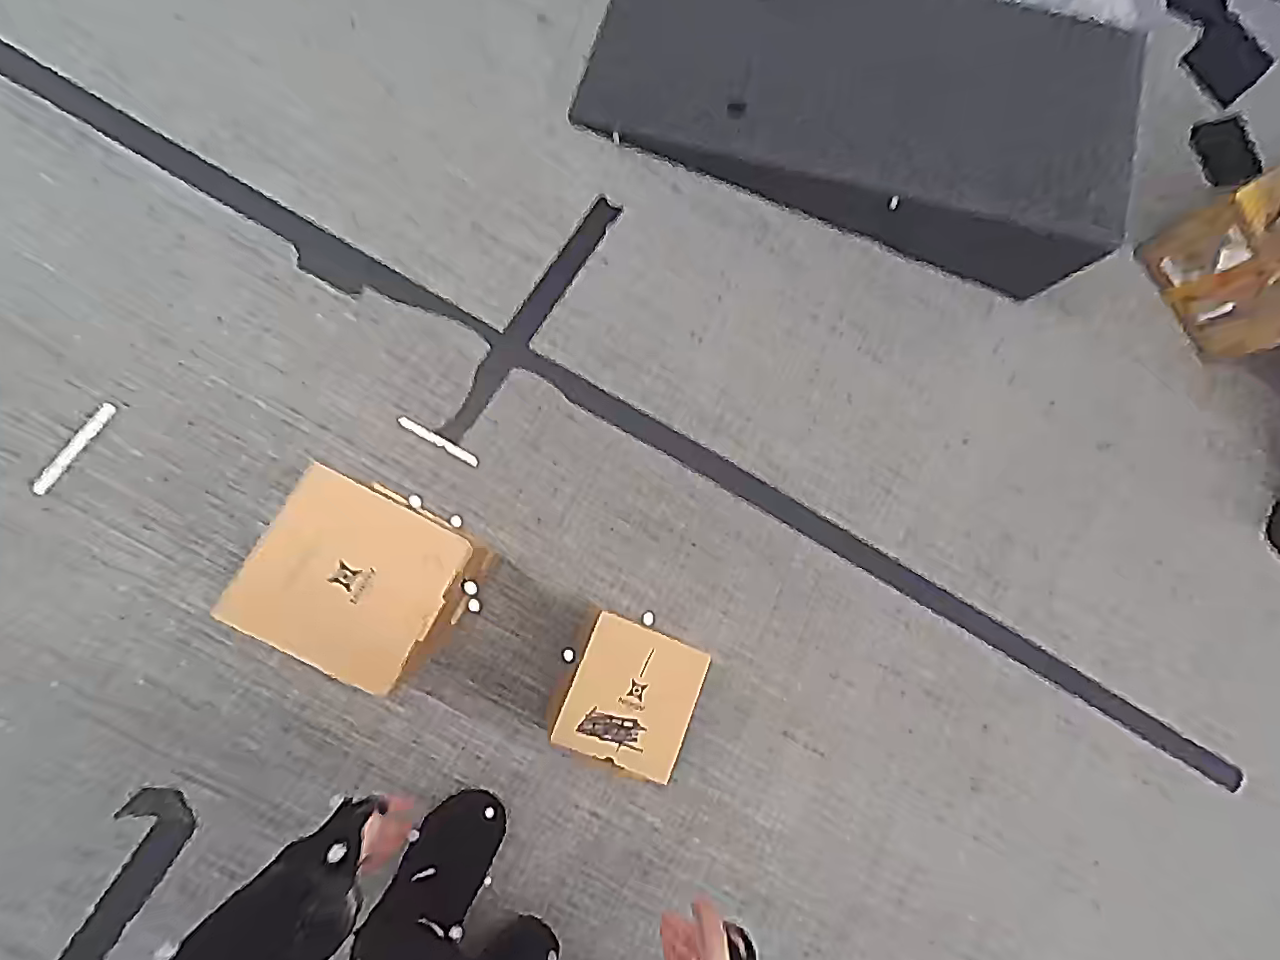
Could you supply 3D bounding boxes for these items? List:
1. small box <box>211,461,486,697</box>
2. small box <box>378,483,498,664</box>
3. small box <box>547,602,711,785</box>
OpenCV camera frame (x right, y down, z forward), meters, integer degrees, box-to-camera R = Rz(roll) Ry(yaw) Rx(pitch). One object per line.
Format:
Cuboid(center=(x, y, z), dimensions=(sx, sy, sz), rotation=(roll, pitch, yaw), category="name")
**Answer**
Cuboid(center=(-0.285, 0.101, 0.583), dimensions=(0.179, 0.176, 0.168), rotation=(29, 78, -4), category="small box")
Cuboid(center=(-0.312, 0.123, 0.744), dimensions=(0.179, 0.176, 0.168), rotation=(32, 77, -5), category="small box")
Cuboid(center=(-0.023, 0.290, 0.773), dimensions=(0.168, 0.176, 0.179), rotation=(25, 77, -6), category="small box")
